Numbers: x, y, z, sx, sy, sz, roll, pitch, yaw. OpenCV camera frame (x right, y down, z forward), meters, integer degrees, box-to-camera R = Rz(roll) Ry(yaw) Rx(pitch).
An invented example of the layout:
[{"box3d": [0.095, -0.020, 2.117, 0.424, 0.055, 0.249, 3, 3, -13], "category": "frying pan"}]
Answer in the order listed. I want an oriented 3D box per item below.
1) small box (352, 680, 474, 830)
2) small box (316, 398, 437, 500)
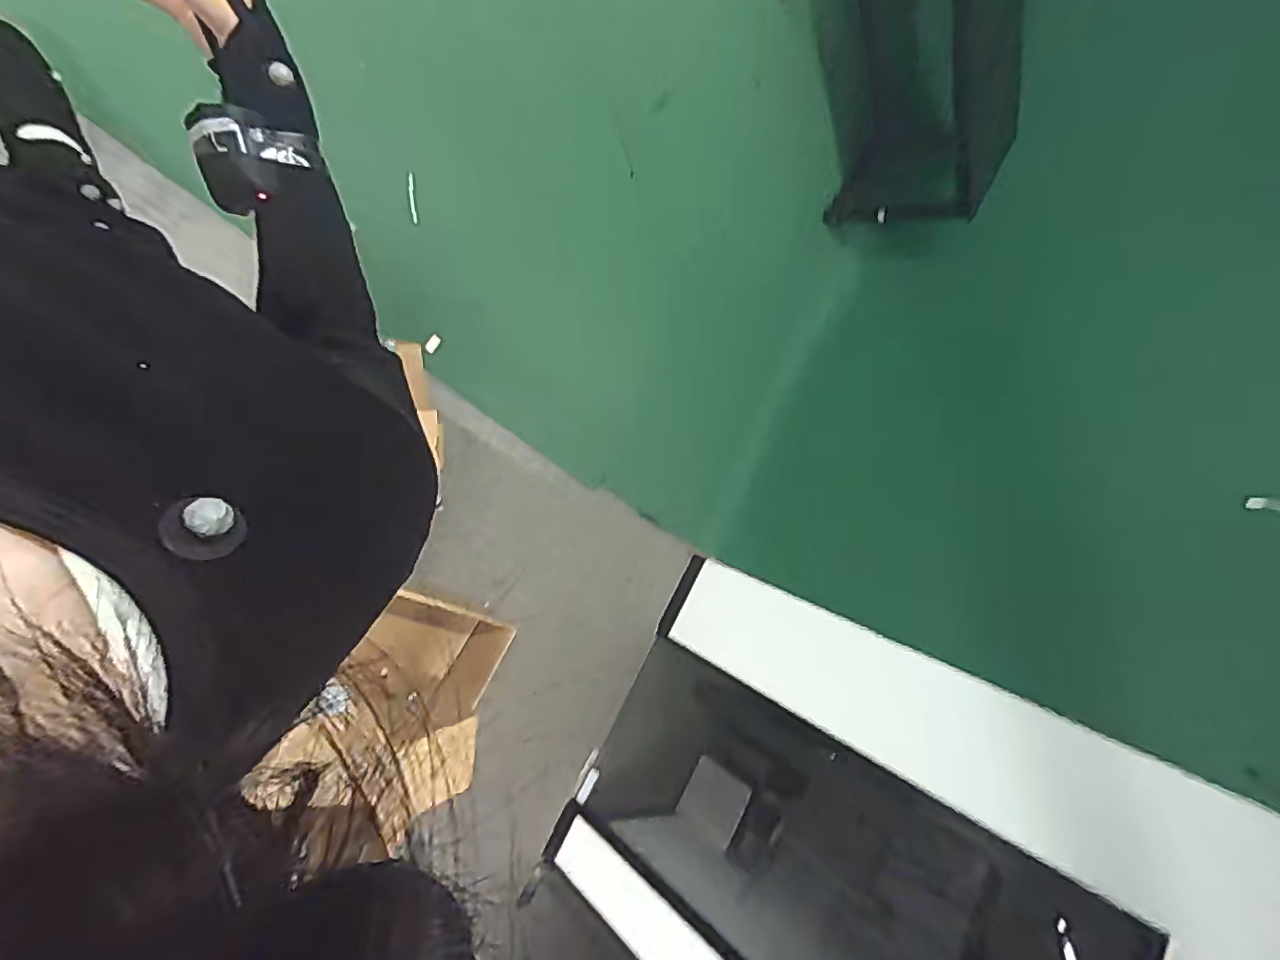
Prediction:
[{"box3d": [-0.456, 0.536, 1.080, 0.168, 0.176, 0.179, -4, 108, -49], "category": "small box"}, {"box3d": [-0.547, -0.073, 1.130, 0.179, 0.176, 0.168, -14, 116, -45], "category": "small box"}]
